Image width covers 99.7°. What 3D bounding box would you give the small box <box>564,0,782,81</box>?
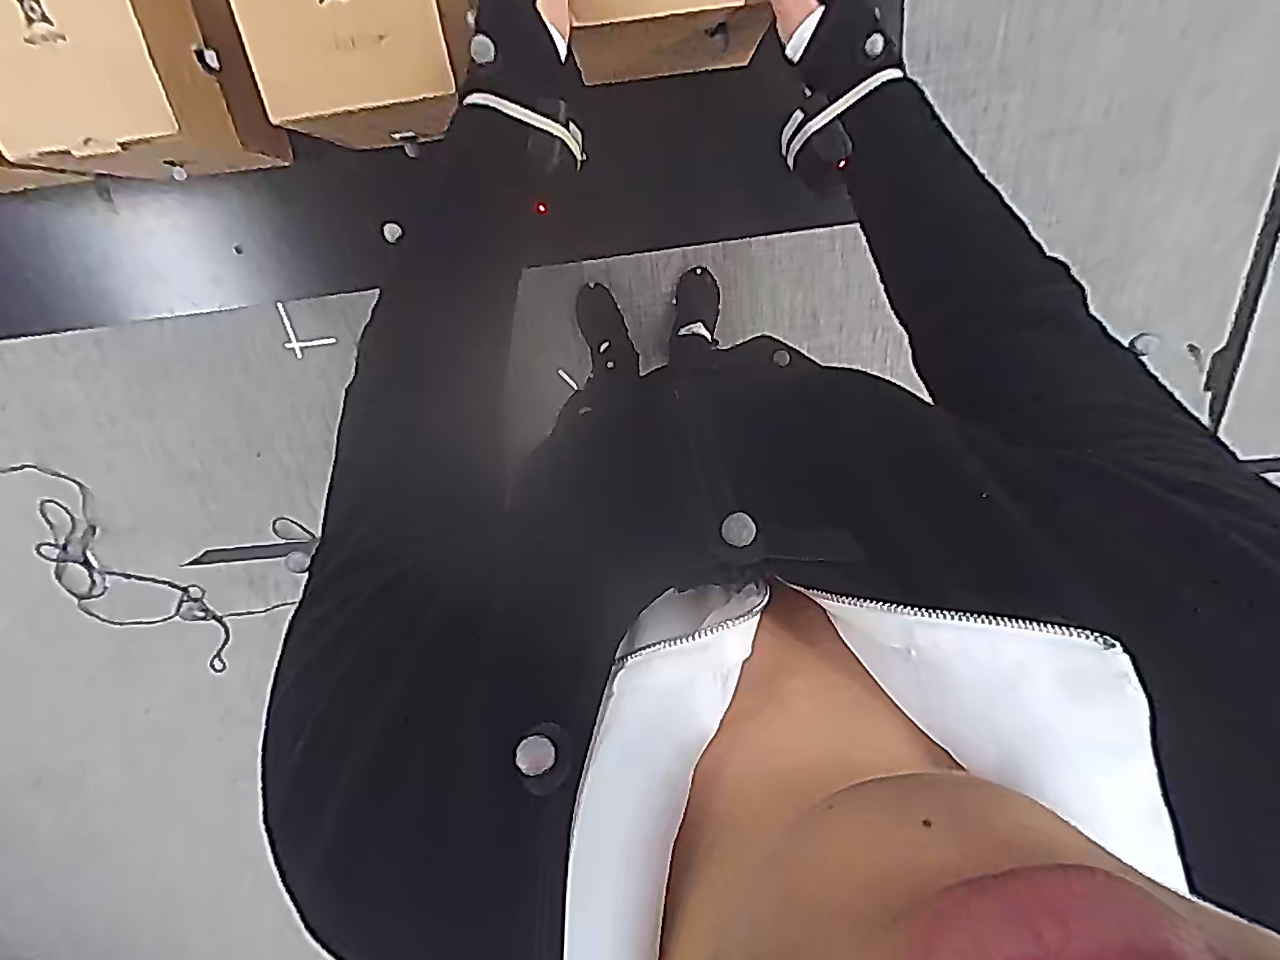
[{"bbox_3d":[0.020,-0.475,0.472,0.179,0.176,0.168,-5,114,3],"label":"small box"}]

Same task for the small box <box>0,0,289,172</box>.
[{"bbox_3d":[-0.476,-0.398,0.507,0.168,0.176,0.179,-6,114,2],"label":"small box"}]

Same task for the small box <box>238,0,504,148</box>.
[{"bbox_3d":[-0.239,-0.428,0.497,0.168,0.176,0.179,-7,115,4],"label":"small box"}]

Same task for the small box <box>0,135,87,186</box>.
[{"bbox_3d":[-0.708,-0.381,0.513,0.179,0.176,0.168,-6,114,2],"label":"small box"}]
